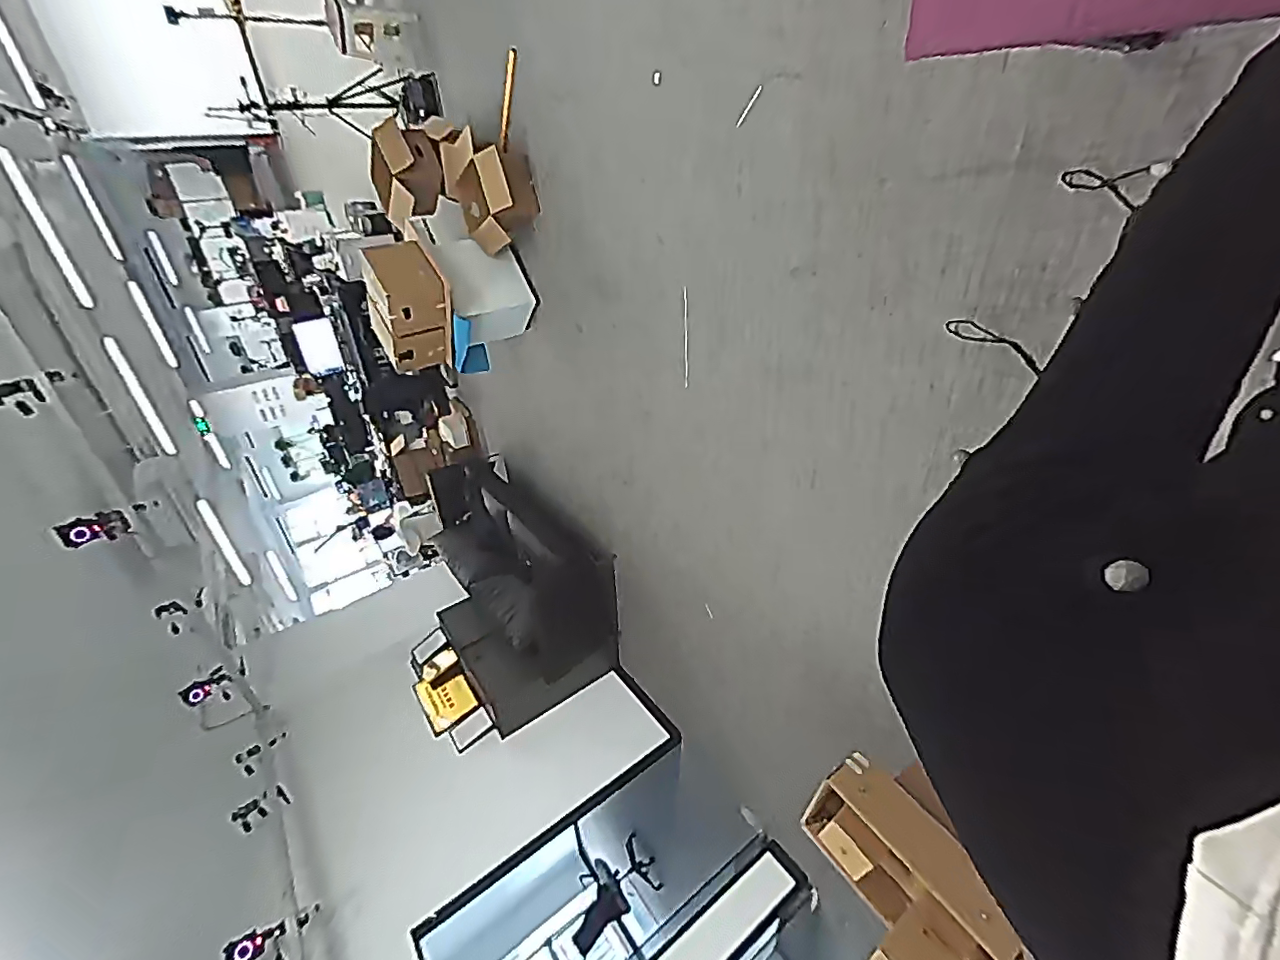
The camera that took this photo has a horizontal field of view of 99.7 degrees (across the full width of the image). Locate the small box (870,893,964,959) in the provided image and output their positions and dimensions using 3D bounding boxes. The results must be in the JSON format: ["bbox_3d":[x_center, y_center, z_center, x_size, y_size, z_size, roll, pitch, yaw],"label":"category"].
[{"bbox_3d":[0.826,1.391,1.611,0.168,0.176,0.179,39,141,41],"label":"small box"}]

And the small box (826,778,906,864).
[{"bbox_3d":[0.784,1.177,1.872,0.168,0.176,0.179,44,144,35],"label":"small box"}]
